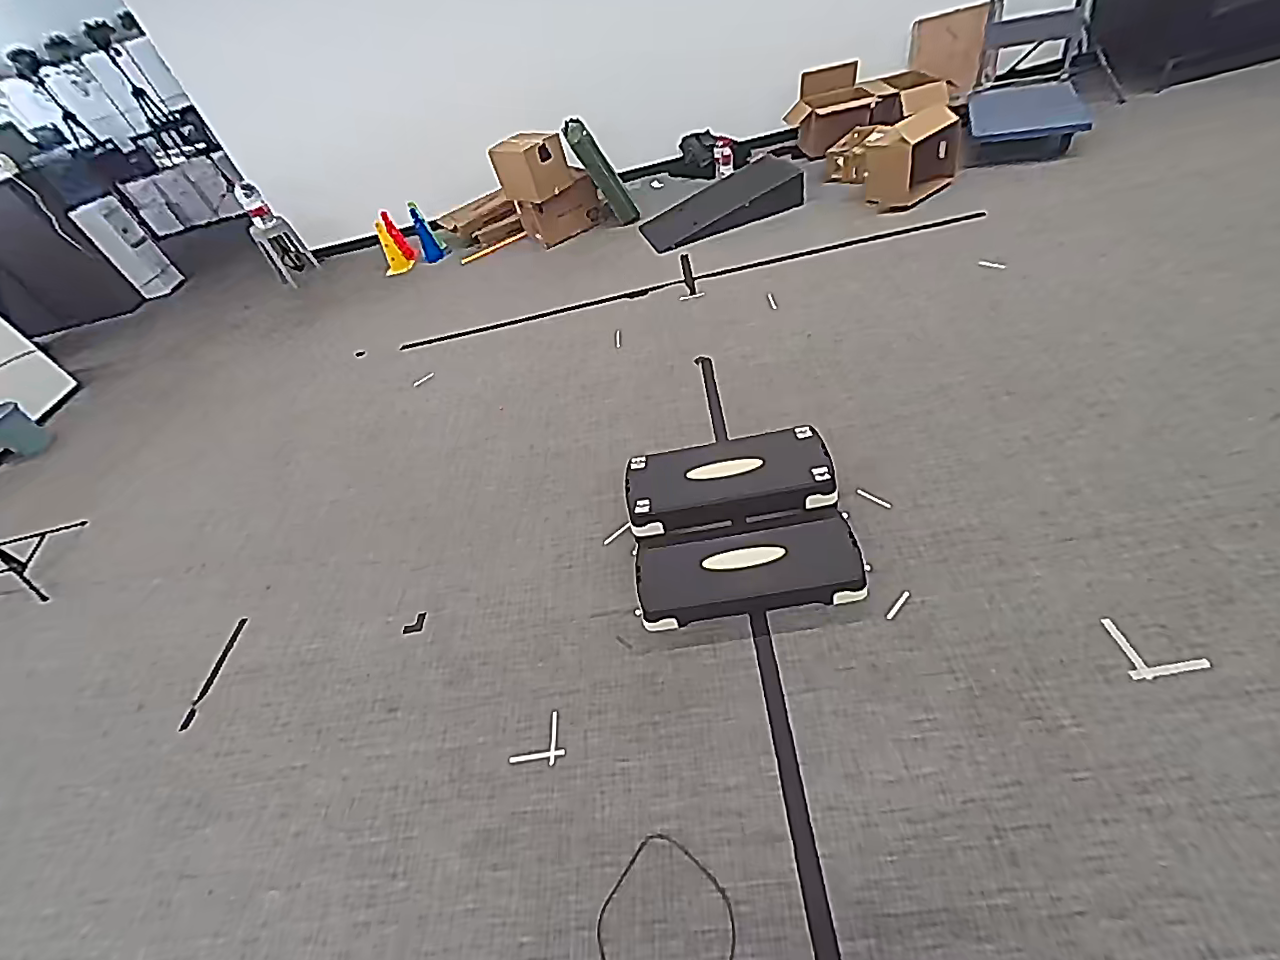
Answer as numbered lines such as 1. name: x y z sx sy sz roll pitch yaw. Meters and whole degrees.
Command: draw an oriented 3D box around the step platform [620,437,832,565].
1. step platform: 0.276 0.067 1.807 0.684 0.204 0.286 -11 45 5
